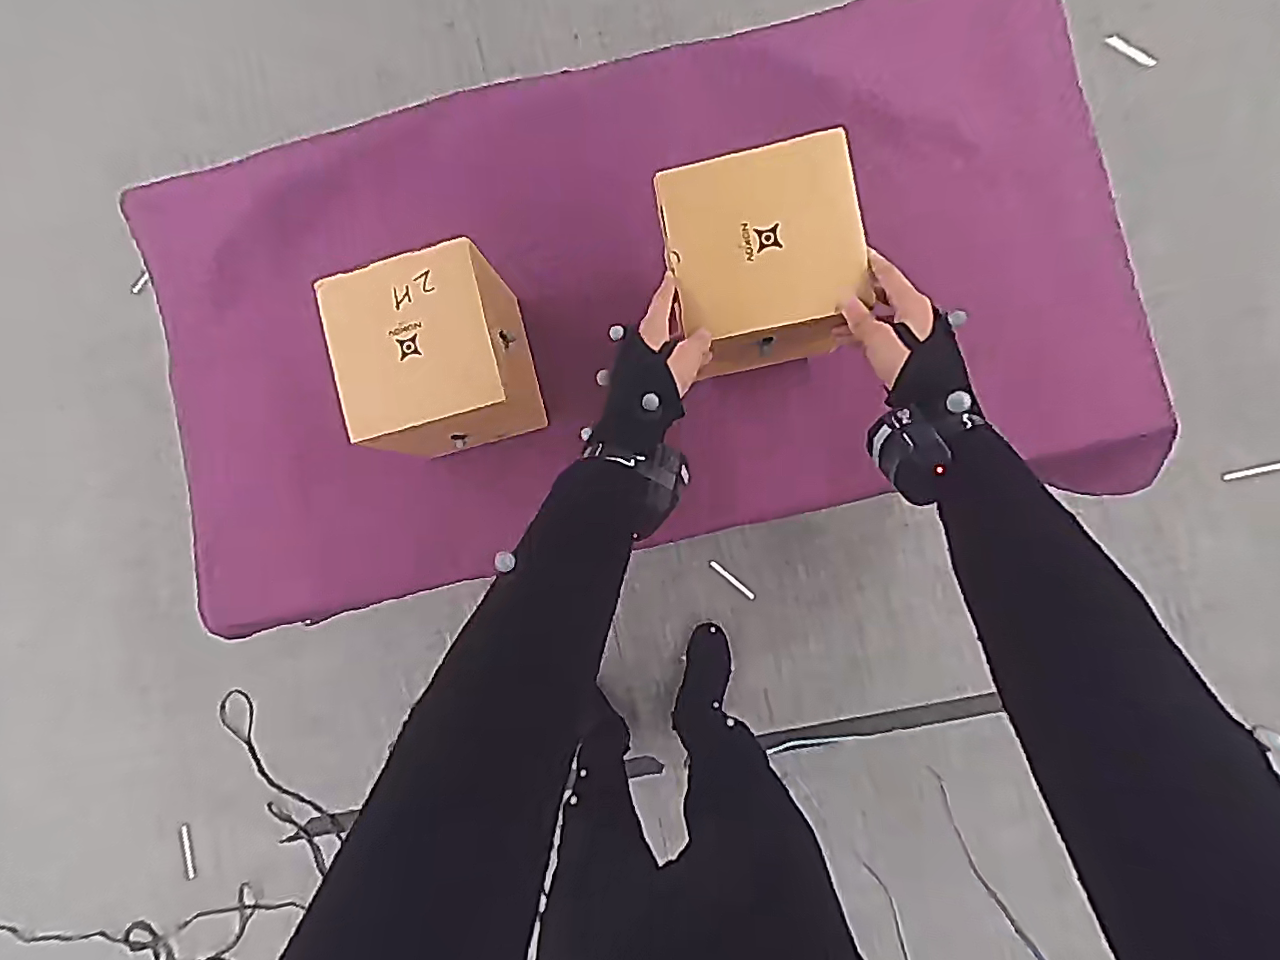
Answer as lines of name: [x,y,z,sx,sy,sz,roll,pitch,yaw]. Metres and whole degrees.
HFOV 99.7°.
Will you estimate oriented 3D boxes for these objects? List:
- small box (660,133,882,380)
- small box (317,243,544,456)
small box: [0.125,-0.212,0.563,0.179,0.176,0.168,-11,89,8]
small box: [-0.220,-0.129,0.613,0.168,0.176,0.179,-14,86,3]
